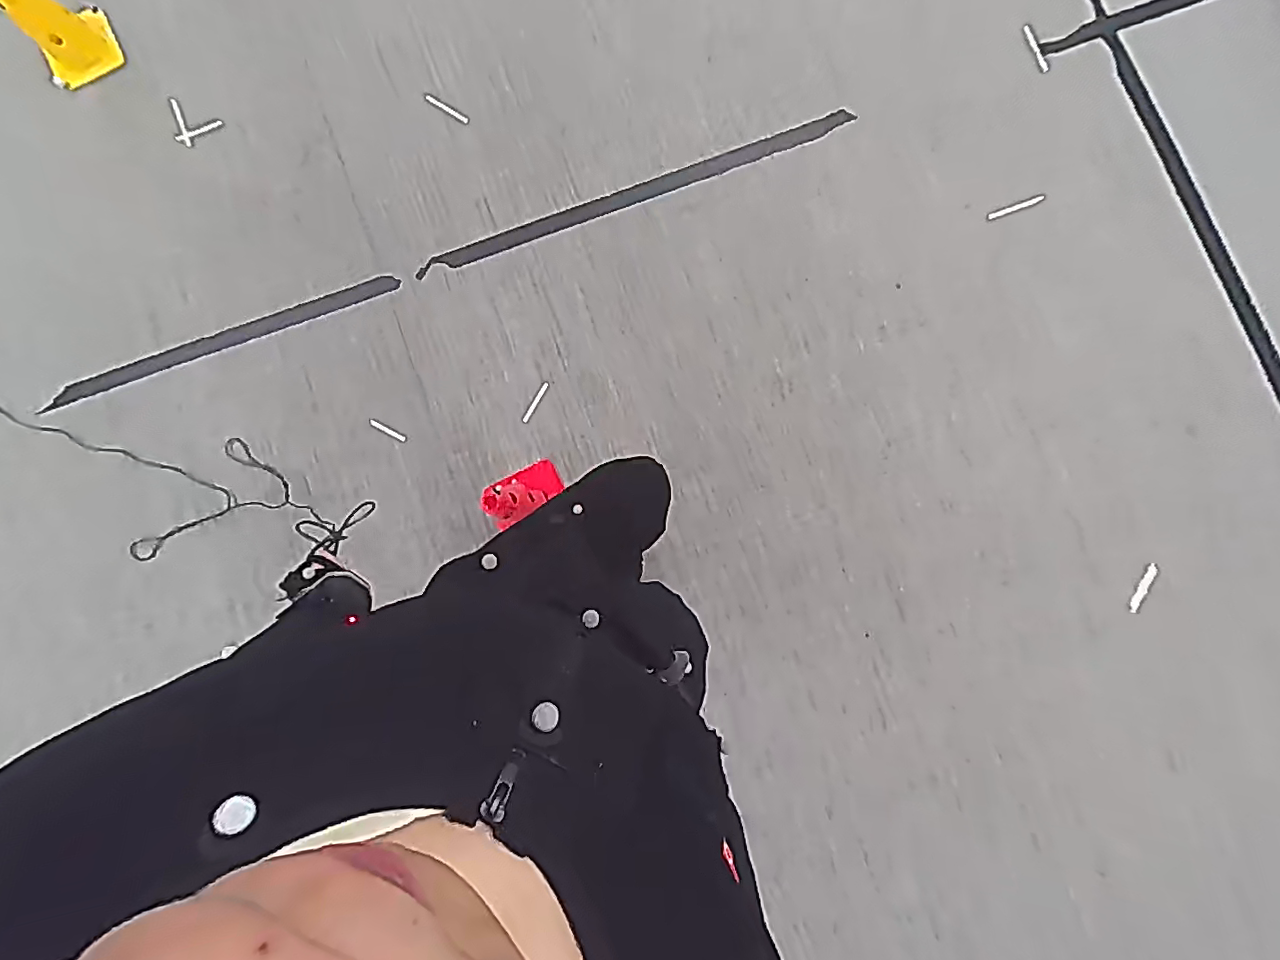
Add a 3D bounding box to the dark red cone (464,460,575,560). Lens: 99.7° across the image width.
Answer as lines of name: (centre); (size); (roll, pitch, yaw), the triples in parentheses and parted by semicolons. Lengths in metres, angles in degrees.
dark red cone: (-0.289, 0.059, 1.176); (0.202, 0.394, 0.201); (-28, 84, 0)
